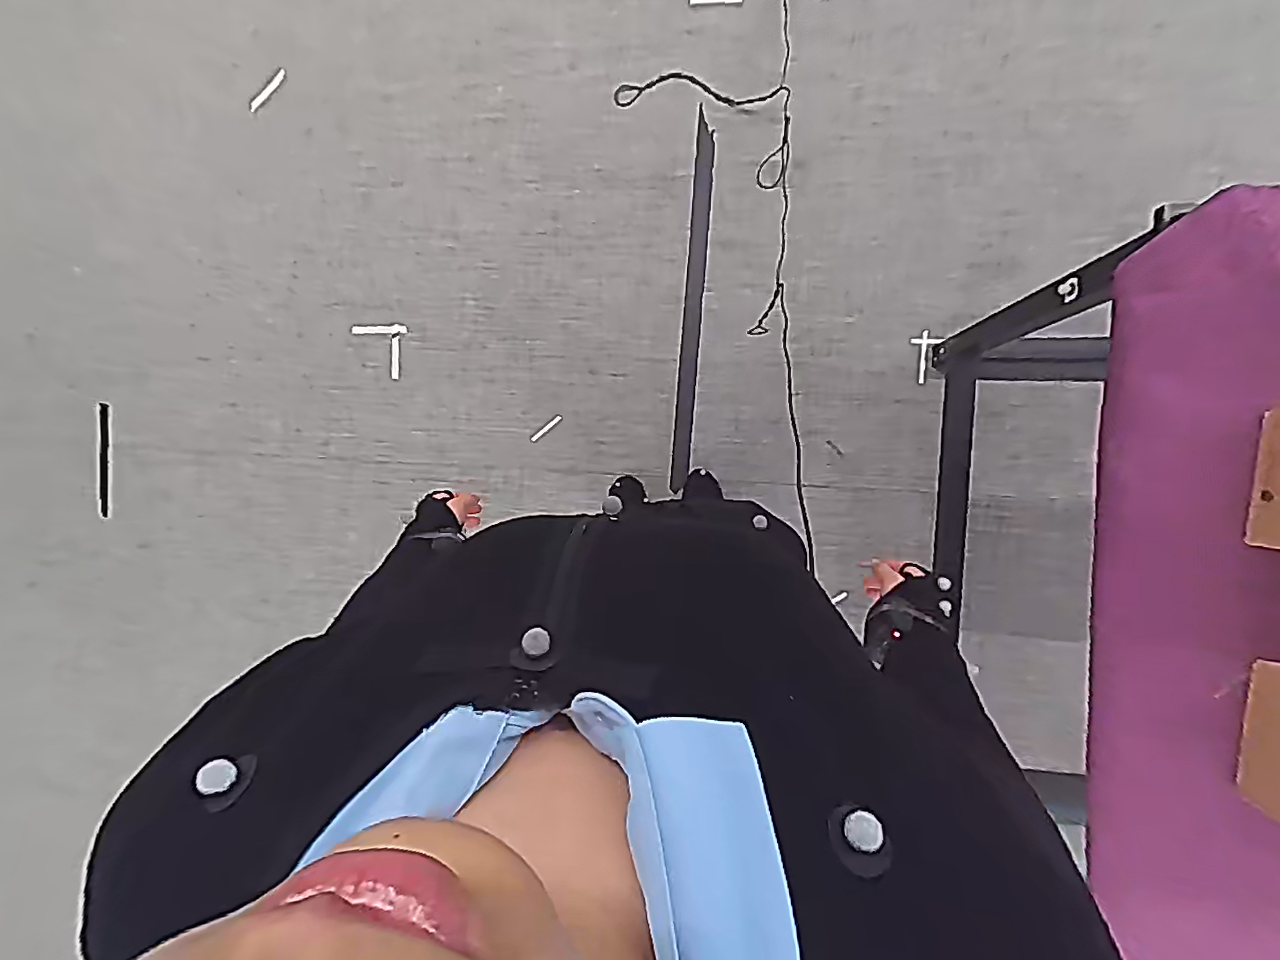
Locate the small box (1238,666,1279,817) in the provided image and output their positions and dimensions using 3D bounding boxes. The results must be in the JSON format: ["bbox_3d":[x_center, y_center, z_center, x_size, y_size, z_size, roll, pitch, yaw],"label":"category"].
[{"bbox_3d":[0.822,0.320,0.585,0.168,0.176,0.179,6,93,7],"label":"small box"}]

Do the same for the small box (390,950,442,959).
[{"bbox_3d":[-0.674,1.511,1.559,0.168,0.176,0.179,-3,92,7],"label":"small box"}]
